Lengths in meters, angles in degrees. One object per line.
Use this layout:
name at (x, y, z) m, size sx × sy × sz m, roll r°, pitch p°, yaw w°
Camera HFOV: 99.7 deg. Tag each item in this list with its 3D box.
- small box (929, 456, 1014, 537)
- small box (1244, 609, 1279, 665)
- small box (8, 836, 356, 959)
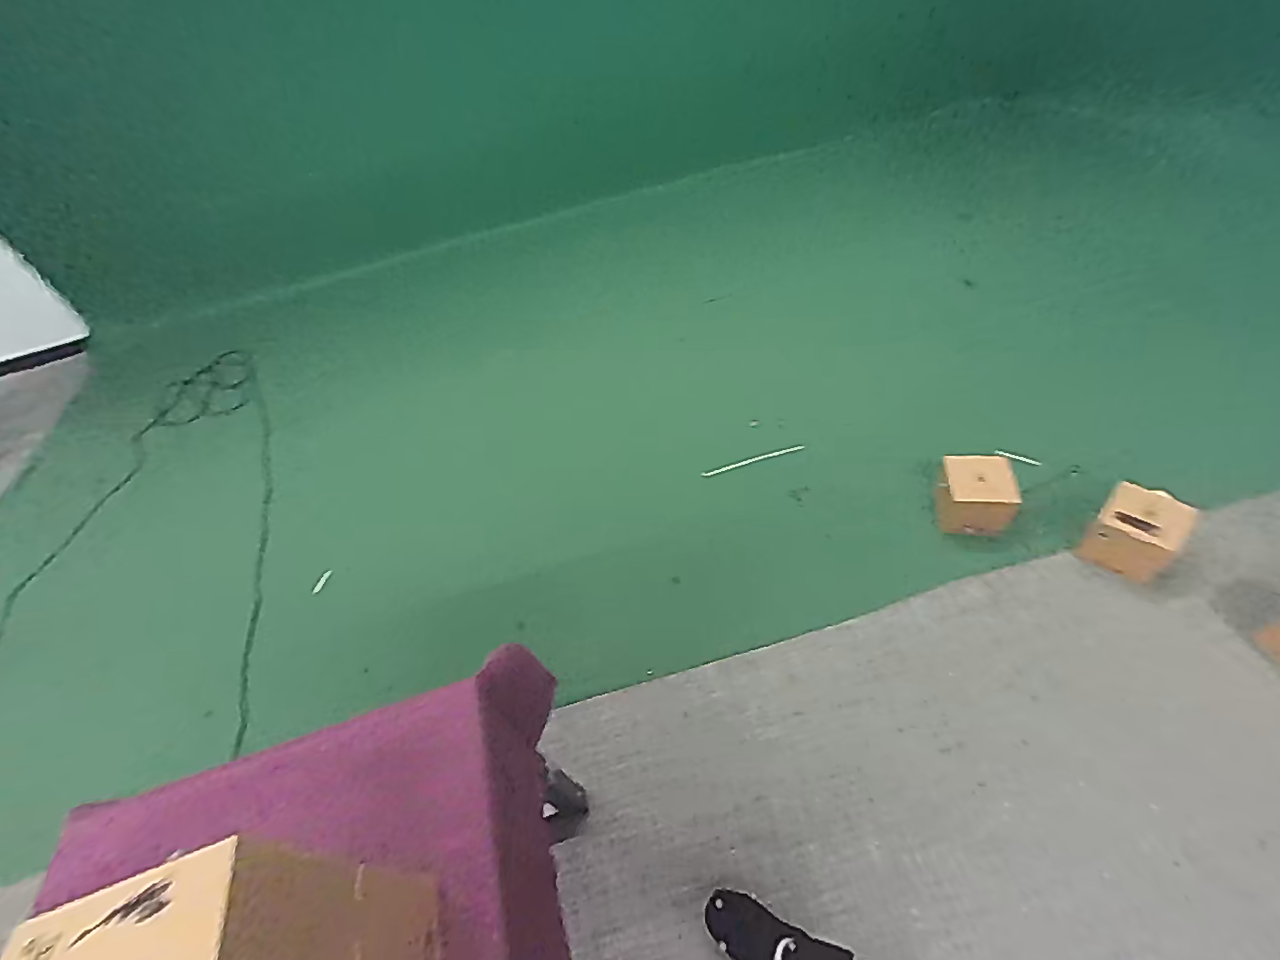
small box at (0.983, 0.049, 1.621) m, size 0.168 × 0.176 × 0.179 m, roll 2°, pitch 50°, yaw 14°
small box at (1.563, 0.356, 1.225) m, size 0.168 × 0.176 × 0.179 m, roll -26°, pitch 50°, yaw -10°
small box at (-0.342, 0.410, 0.415) m, size 0.168 × 0.176 × 0.179 m, roll -20°, pitch 49°, yaw -6°
